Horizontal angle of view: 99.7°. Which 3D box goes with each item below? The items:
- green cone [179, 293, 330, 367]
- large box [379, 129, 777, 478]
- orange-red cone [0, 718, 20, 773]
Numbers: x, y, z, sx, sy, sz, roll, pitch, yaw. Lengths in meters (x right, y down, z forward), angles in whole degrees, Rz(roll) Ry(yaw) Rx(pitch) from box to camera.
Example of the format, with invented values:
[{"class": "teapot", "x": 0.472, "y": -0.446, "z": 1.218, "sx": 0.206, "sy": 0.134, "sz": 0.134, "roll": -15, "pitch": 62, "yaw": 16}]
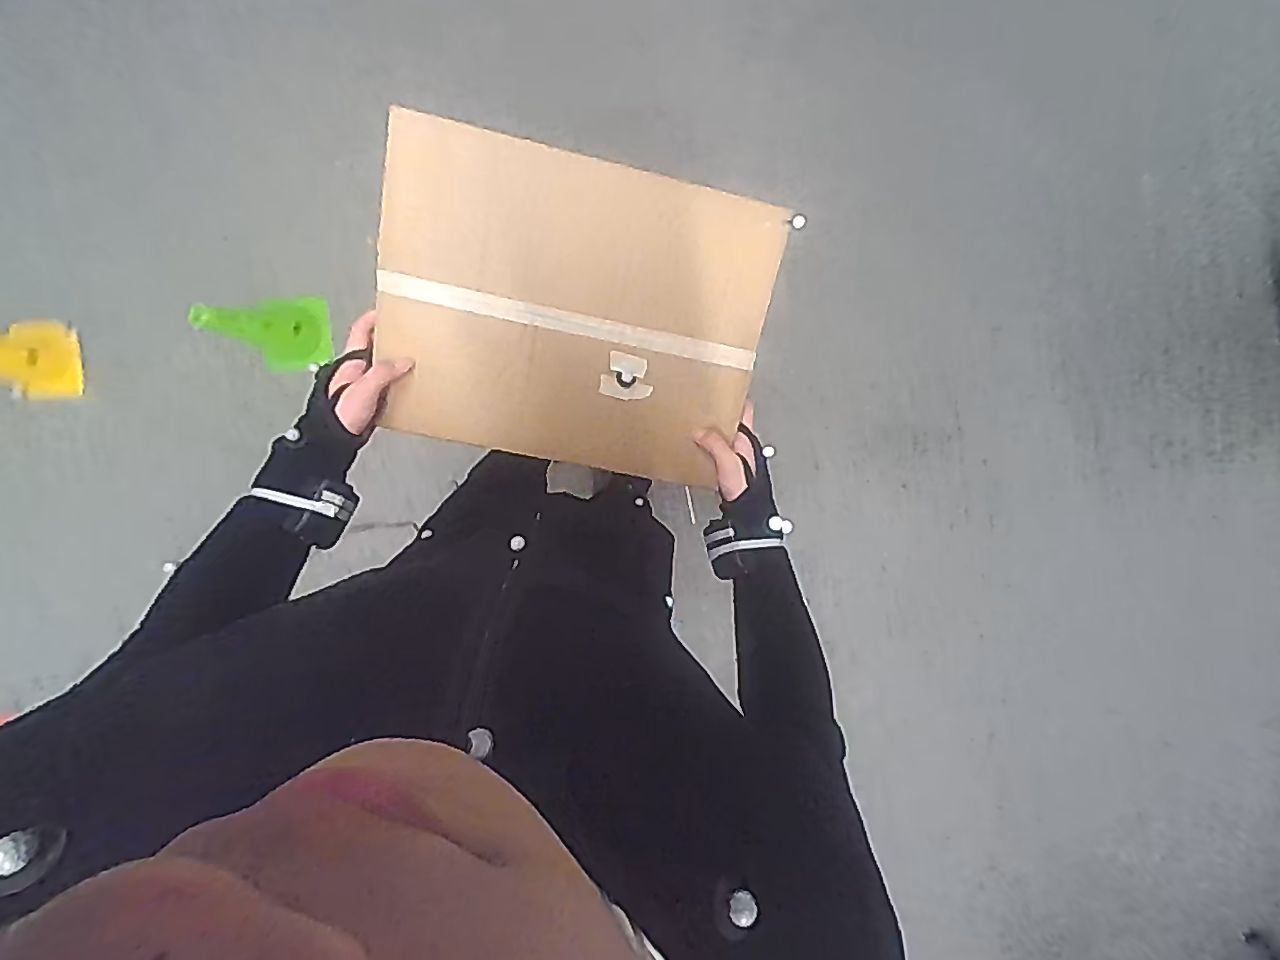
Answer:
[{"class": "green cone", "x": -1.009, "y": -0.411, "z": 1.392, "sx": 0.202, "sy": 0.368, "sz": 0.200, "roll": -3, "pitch": 98, "yaw": 2}, {"class": "large box", "x": -0.088, "y": -0.215, "z": 0.728, "sx": 0.408, "sy": 0.320, "sz": 0.320, "roll": 9, "pitch": 108, "yaw": -8}, {"class": "orange-red cone", "x": -2.123, "y": 0.890, "z": 1.584, "sx": 0.198, "sy": 0.360, "sz": 0.199, "roll": -2, "pitch": 100, "yaw": 2}]
